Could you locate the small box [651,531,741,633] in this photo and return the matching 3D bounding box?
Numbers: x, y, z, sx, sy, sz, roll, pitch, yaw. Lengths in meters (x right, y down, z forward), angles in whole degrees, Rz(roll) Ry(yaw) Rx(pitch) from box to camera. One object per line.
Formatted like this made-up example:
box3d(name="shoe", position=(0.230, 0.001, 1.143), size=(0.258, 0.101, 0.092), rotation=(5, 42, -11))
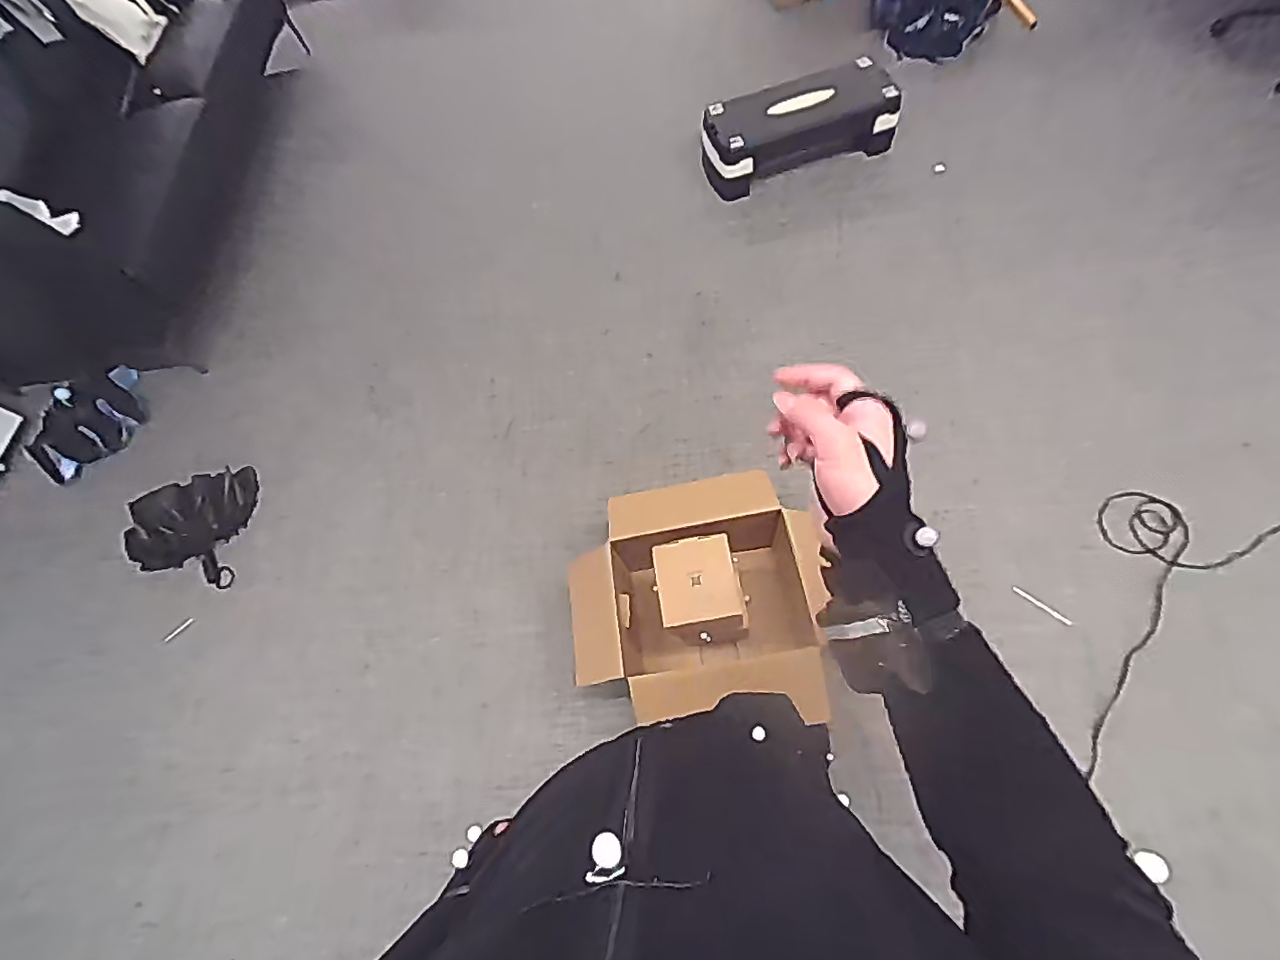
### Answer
box3d(name="small box", position=(0.125, 0.231, 1.202), size=(0.168, 0.176, 0.179), rotation=(-11, 67, 6))
